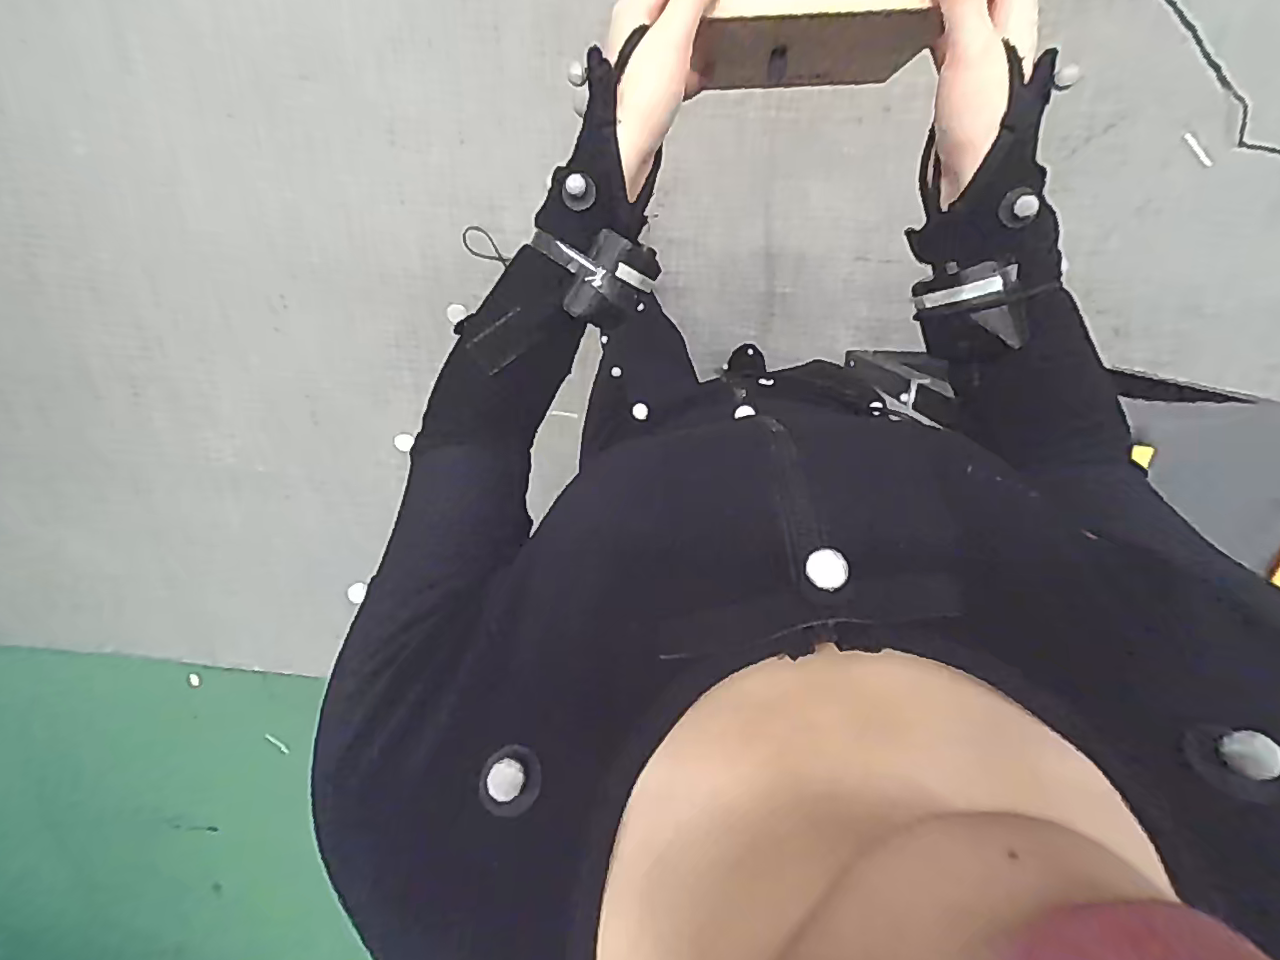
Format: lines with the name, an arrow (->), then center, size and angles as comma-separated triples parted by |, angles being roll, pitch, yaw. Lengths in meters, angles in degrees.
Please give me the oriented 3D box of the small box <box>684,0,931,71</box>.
small box -> 0.115, -0.394, 0.355 | 0.168, 0.176, 0.179 | 1, 112, 5
